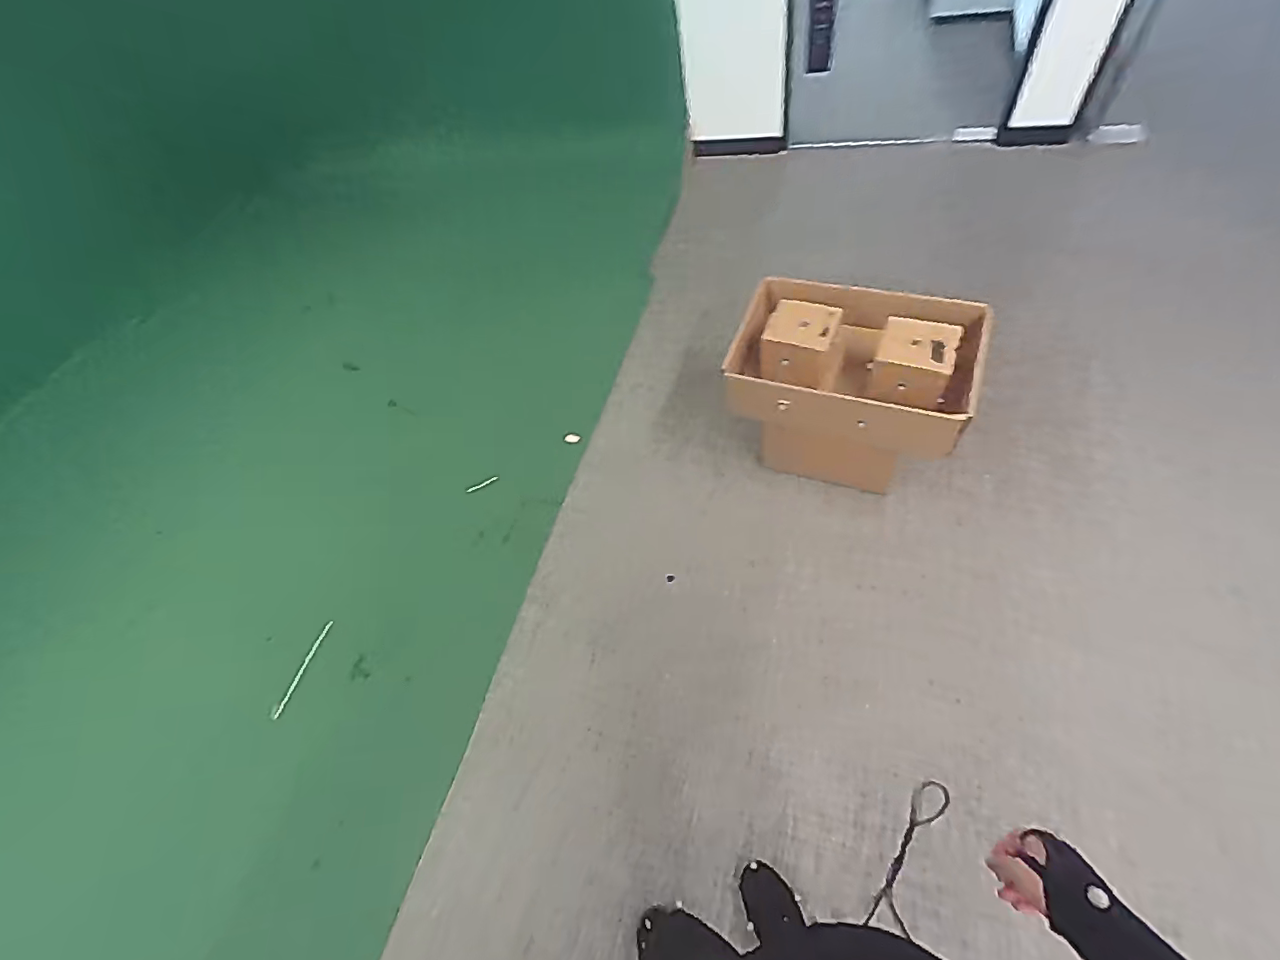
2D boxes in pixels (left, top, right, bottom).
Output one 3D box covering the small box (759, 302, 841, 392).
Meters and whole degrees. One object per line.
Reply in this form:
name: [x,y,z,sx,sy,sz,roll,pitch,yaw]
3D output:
small box: [0.451,-0.373,1.531,0.179,0.176,0.168,18,64,23]
